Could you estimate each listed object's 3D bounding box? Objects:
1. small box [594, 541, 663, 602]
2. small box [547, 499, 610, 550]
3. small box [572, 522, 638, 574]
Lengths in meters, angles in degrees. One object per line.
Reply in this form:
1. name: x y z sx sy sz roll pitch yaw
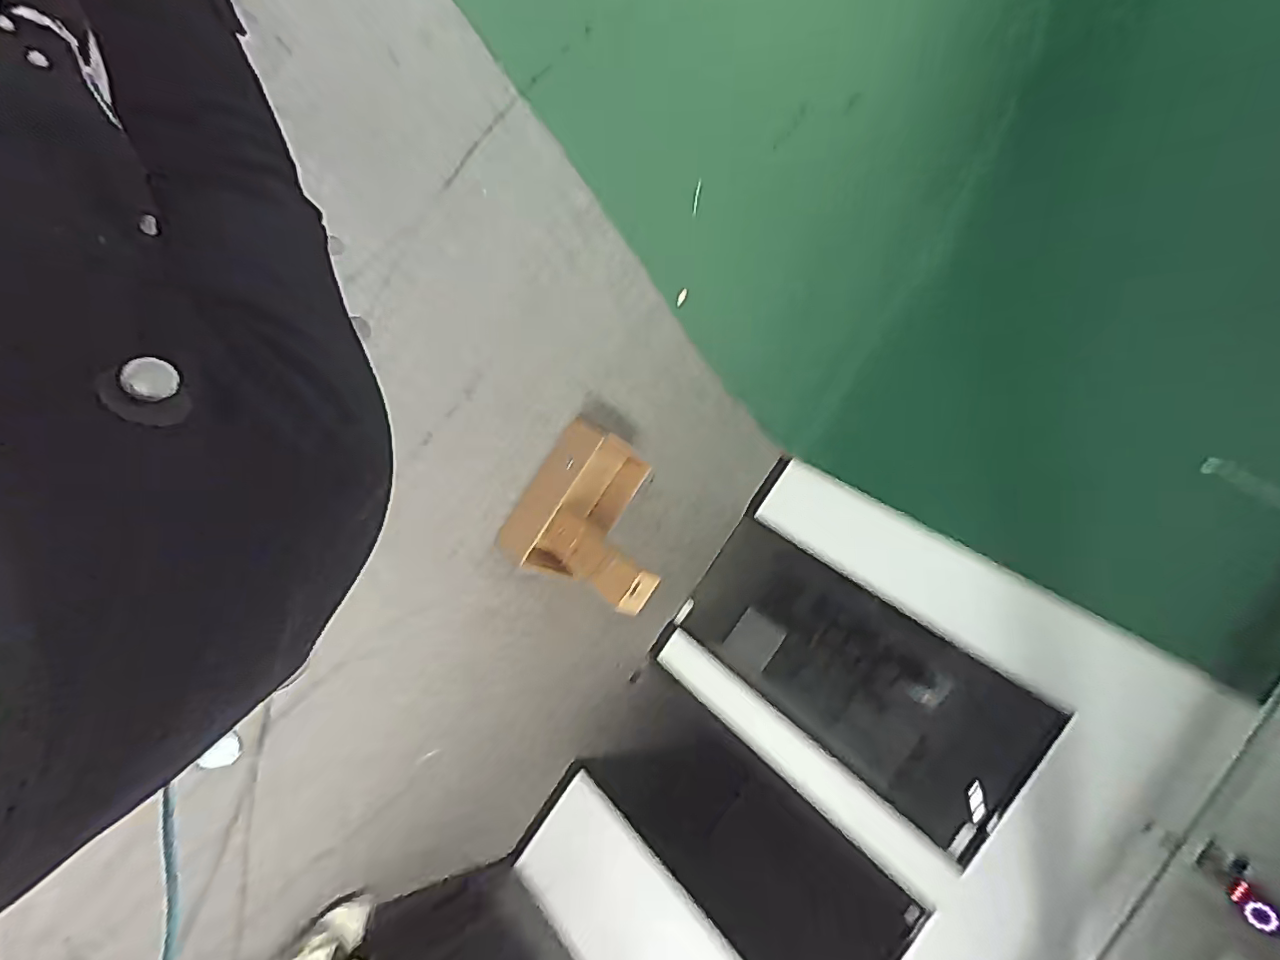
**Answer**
1. small box: -0.048 0.358 2.126 0.168 0.176 0.179 -56 147 1
2. small box: -0.267 0.195 2.310 0.179 0.176 0.168 22 98 -57
3. small box: -0.147 0.292 2.212 0.168 0.176 0.179 -57 147 1
